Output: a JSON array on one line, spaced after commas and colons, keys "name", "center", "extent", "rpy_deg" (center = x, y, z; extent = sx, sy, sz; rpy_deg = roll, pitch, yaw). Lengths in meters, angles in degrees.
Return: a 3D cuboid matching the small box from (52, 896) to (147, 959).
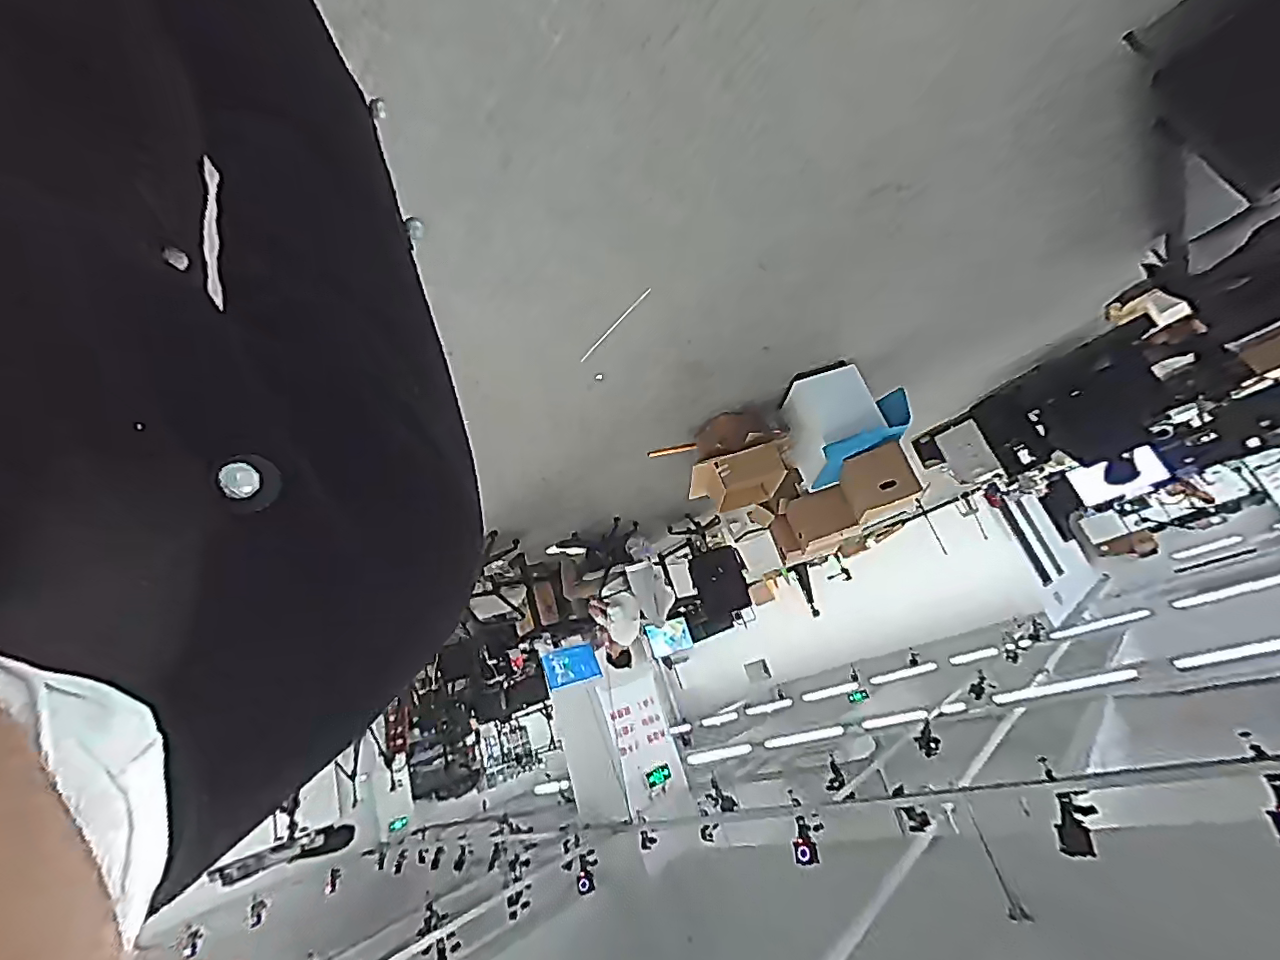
[{"name": "small box", "center": [-1.426, 1.231, 1.425], "extent": [0.179, 0.176, 0.168], "rpy_deg": [-31, 157, 36]}]
